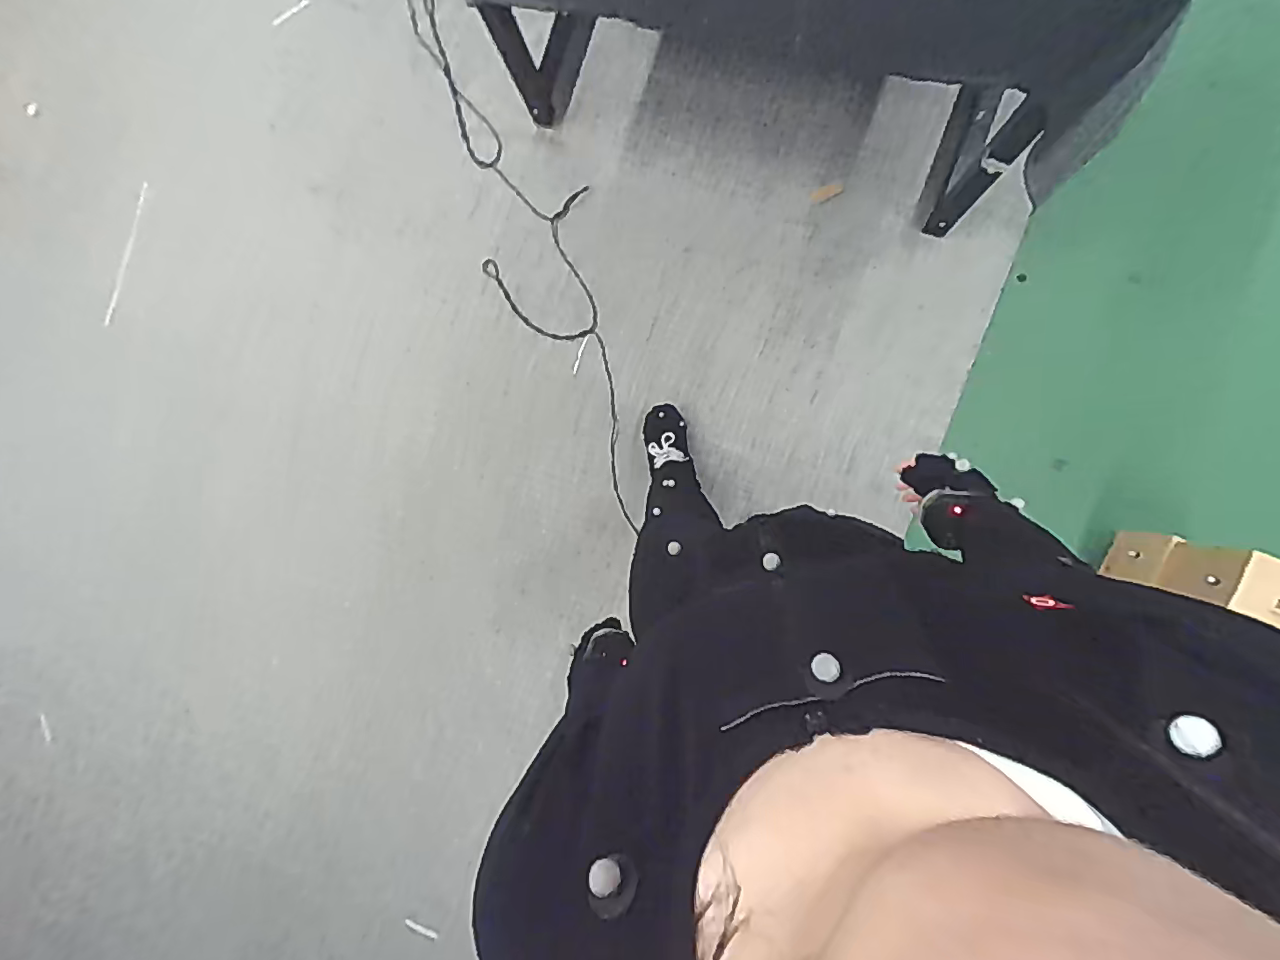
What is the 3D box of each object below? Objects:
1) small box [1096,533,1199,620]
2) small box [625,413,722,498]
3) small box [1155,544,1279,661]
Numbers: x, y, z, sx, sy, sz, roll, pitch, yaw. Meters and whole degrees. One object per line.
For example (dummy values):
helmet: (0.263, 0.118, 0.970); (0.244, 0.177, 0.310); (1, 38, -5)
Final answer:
small box: (1.224, 0.230, 1.252); (0.179, 0.176, 0.168); (25, 92, 7)
small box: (0.082, -0.068, 1.417); (0.179, 0.176, 0.168); (31, 108, 23)
small box: (1.209, 0.240, 1.087); (0.168, 0.176, 0.179); (24, 92, 7)
